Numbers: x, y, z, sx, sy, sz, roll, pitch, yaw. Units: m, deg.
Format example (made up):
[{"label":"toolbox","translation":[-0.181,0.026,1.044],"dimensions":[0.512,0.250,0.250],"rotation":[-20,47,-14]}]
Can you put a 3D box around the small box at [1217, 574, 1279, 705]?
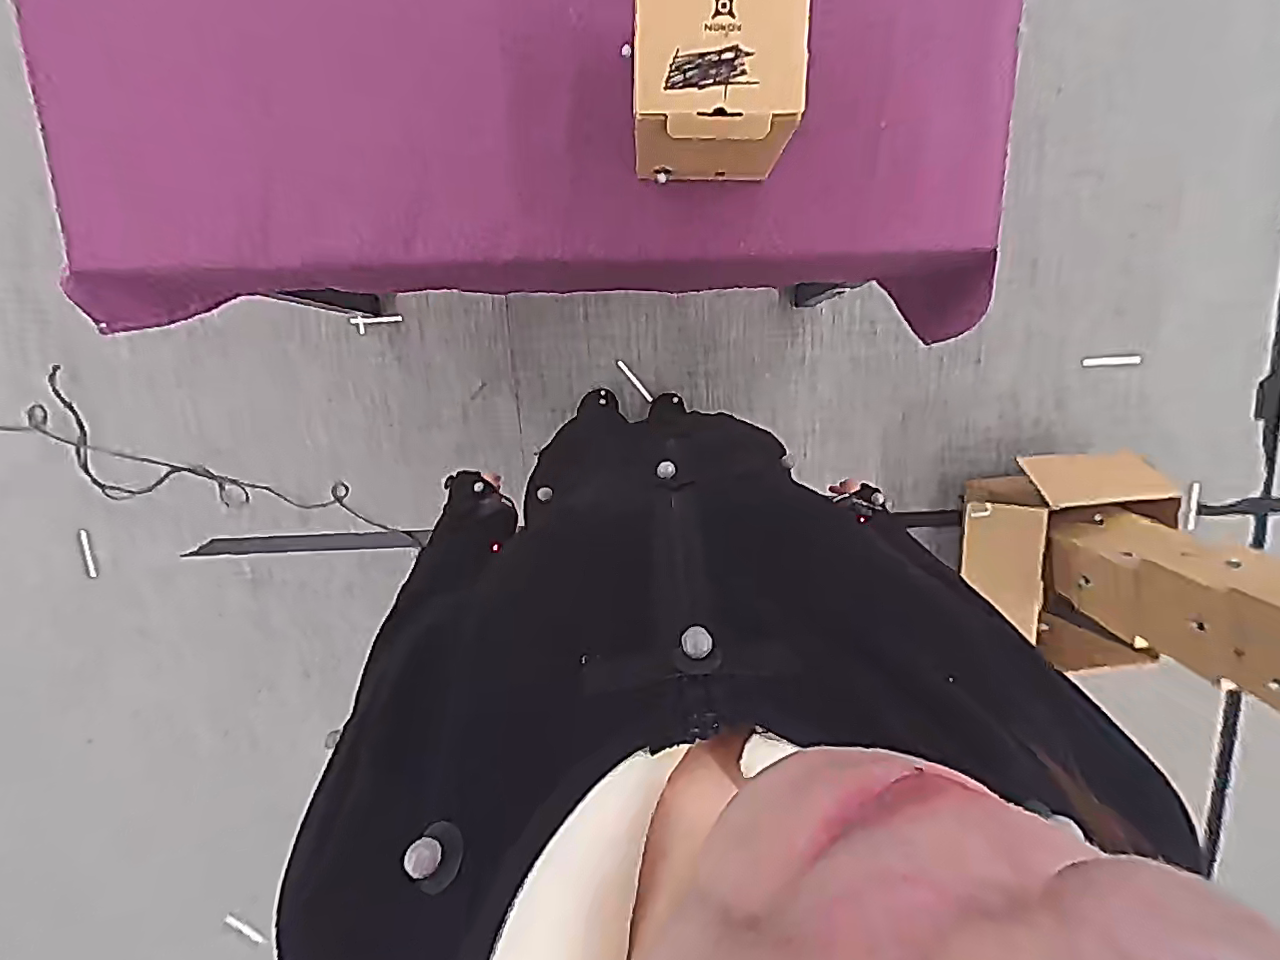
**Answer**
[{"label":"small box","translation":[1.005,0.243,0.780],"dimensions":[0.179,0.176,0.168],"rotation":[-8,104,5]}]

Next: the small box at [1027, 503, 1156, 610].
[{"label":"small box","translation":[1.053,0.168,1.266],"dimensions":[0.168,0.176,0.179],"rotation":[-23,103,8]}]

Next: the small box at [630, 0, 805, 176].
[{"label":"small box","translation":[0.075,-0.453,0.589],"dimensions":[0.168,0.176,0.179],"rotation":[1,100,0]}]

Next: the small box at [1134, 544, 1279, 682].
[{"label":"small box","translation":[1.015,0.220,0.942],"dimensions":[0.168,0.176,0.179],"rotation":[-9,104,6]}]
